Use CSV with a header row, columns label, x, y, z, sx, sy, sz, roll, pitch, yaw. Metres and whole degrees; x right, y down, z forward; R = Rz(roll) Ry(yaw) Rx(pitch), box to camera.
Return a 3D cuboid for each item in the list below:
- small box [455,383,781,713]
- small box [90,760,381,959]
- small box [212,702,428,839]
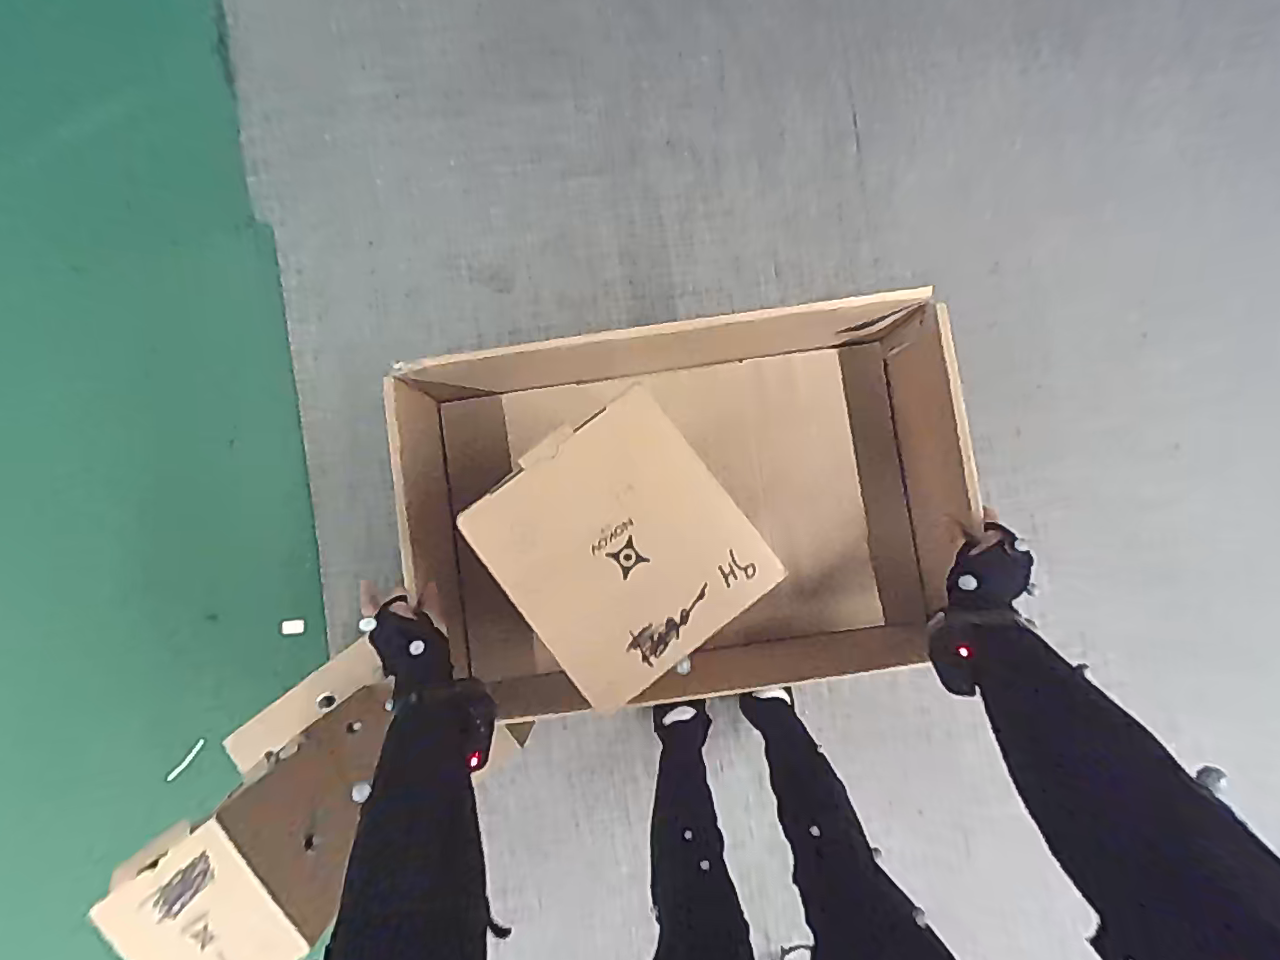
label,x,y,z,sx,sy,sz,roll,pitch,yaw
small box,-0.016,0.052,0.455,0.168,0.176,0.179,-37,86,-2
small box,-0.450,0.466,0.634,0.168,0.176,0.179,-36,90,1
small box,-0.456,0.458,0.798,0.168,0.176,0.179,-41,89,1
